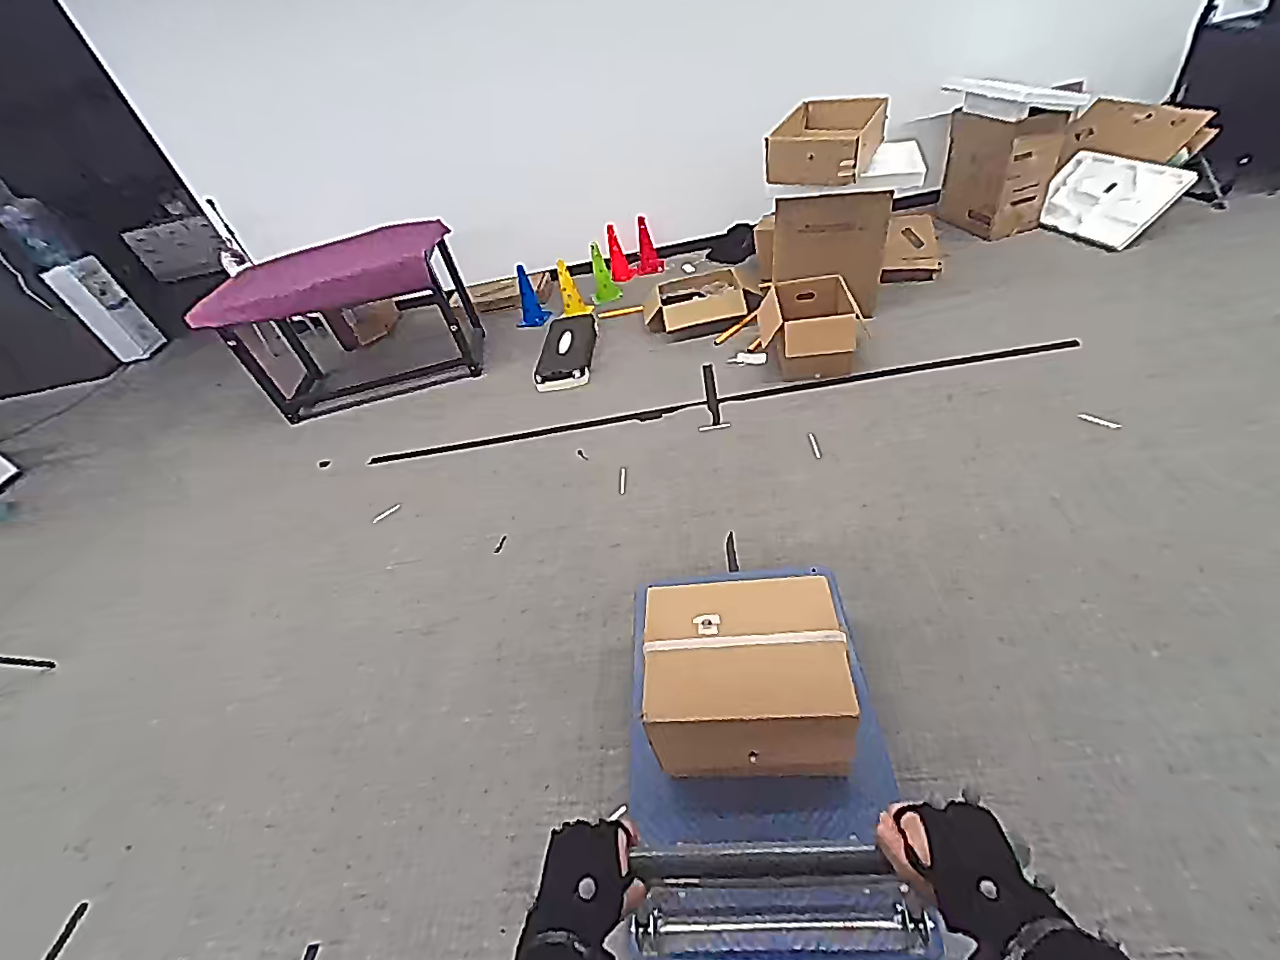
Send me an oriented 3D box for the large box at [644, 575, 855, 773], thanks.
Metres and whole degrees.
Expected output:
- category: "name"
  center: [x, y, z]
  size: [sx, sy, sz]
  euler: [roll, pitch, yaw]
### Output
- category: "large box"
  center: [0.238, 0.448, 1.231]
  size: [0.408, 0.320, 0.320]
  euler: [-7, 42, 10]
